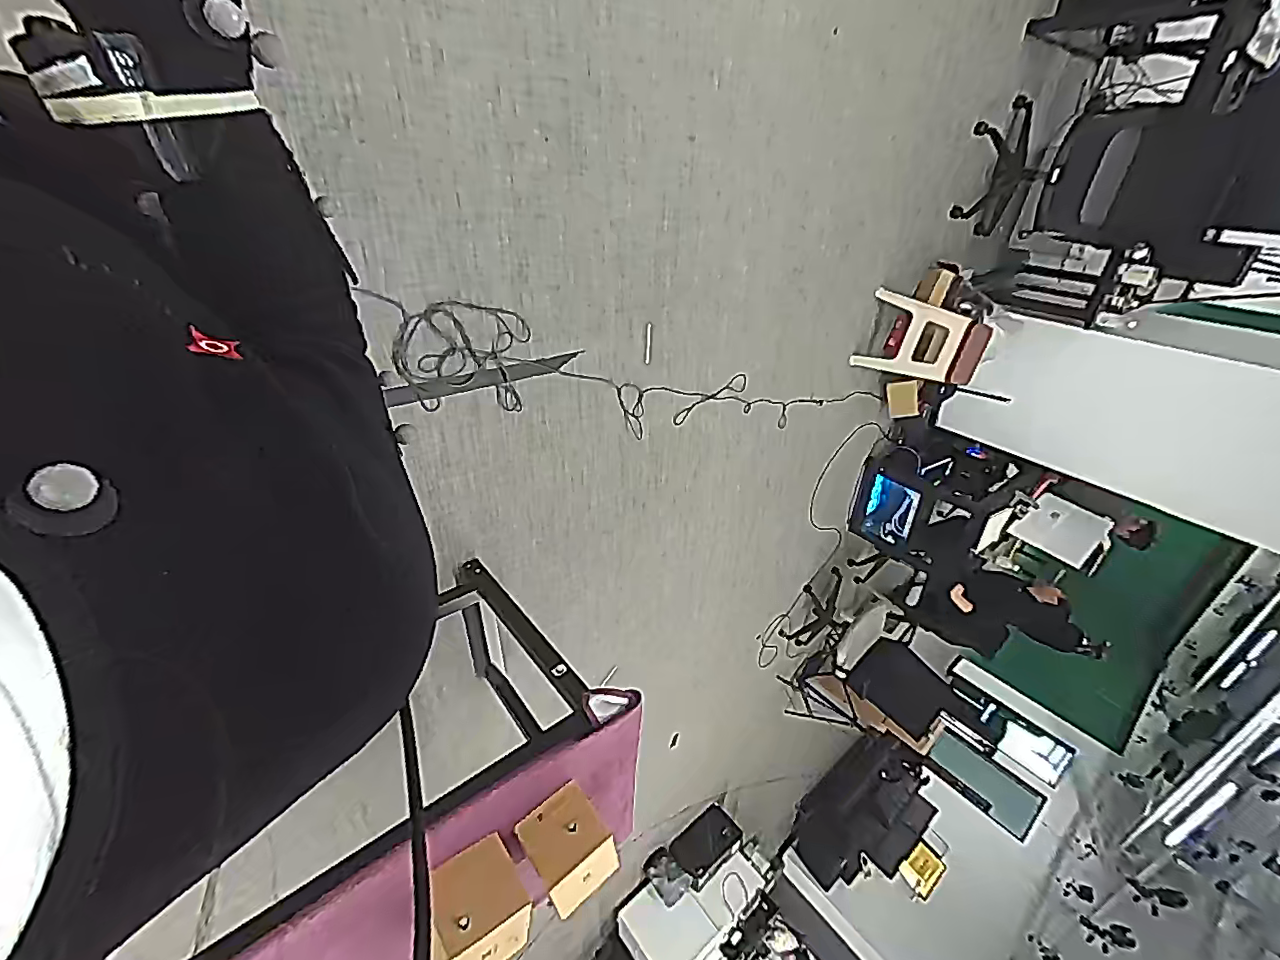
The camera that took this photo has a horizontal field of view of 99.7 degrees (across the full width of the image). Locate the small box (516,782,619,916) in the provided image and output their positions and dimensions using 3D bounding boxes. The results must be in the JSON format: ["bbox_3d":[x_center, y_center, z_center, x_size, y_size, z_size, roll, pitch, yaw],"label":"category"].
[{"bbox_3d":[-0.169,0.845,1.257,0.168,0.176,0.179,-29,132,-29],"label":"small box"}]

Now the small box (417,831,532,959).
[{"bbox_3d":[-0.344,0.880,1.108,0.179,0.176,0.168,-12,124,-40],"label":"small box"}]
